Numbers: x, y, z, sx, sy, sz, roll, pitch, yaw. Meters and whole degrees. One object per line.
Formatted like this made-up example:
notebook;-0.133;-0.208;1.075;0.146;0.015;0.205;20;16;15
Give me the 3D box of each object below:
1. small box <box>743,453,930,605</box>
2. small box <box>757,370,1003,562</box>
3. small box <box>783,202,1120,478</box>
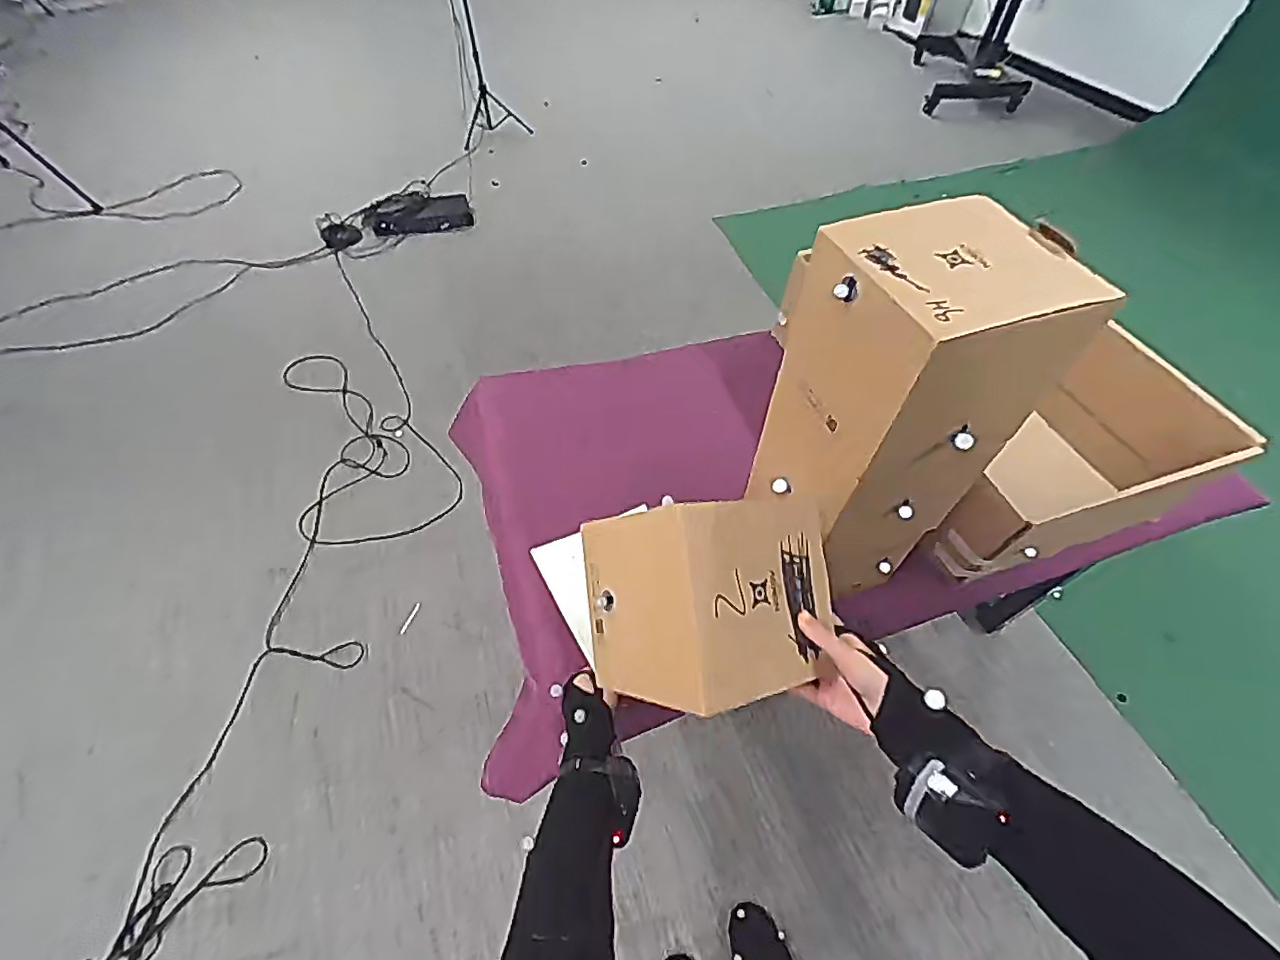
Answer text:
small box;0.263;0.060;0.772;0.168;0.176;0.179;-14;54;-11
small box;0.259;-0.029;0.634;0.179;0.176;0.168;-14;54;-11
small box;0.259;-0.127;0.502;0.179;0.176;0.168;-14;53;-12
